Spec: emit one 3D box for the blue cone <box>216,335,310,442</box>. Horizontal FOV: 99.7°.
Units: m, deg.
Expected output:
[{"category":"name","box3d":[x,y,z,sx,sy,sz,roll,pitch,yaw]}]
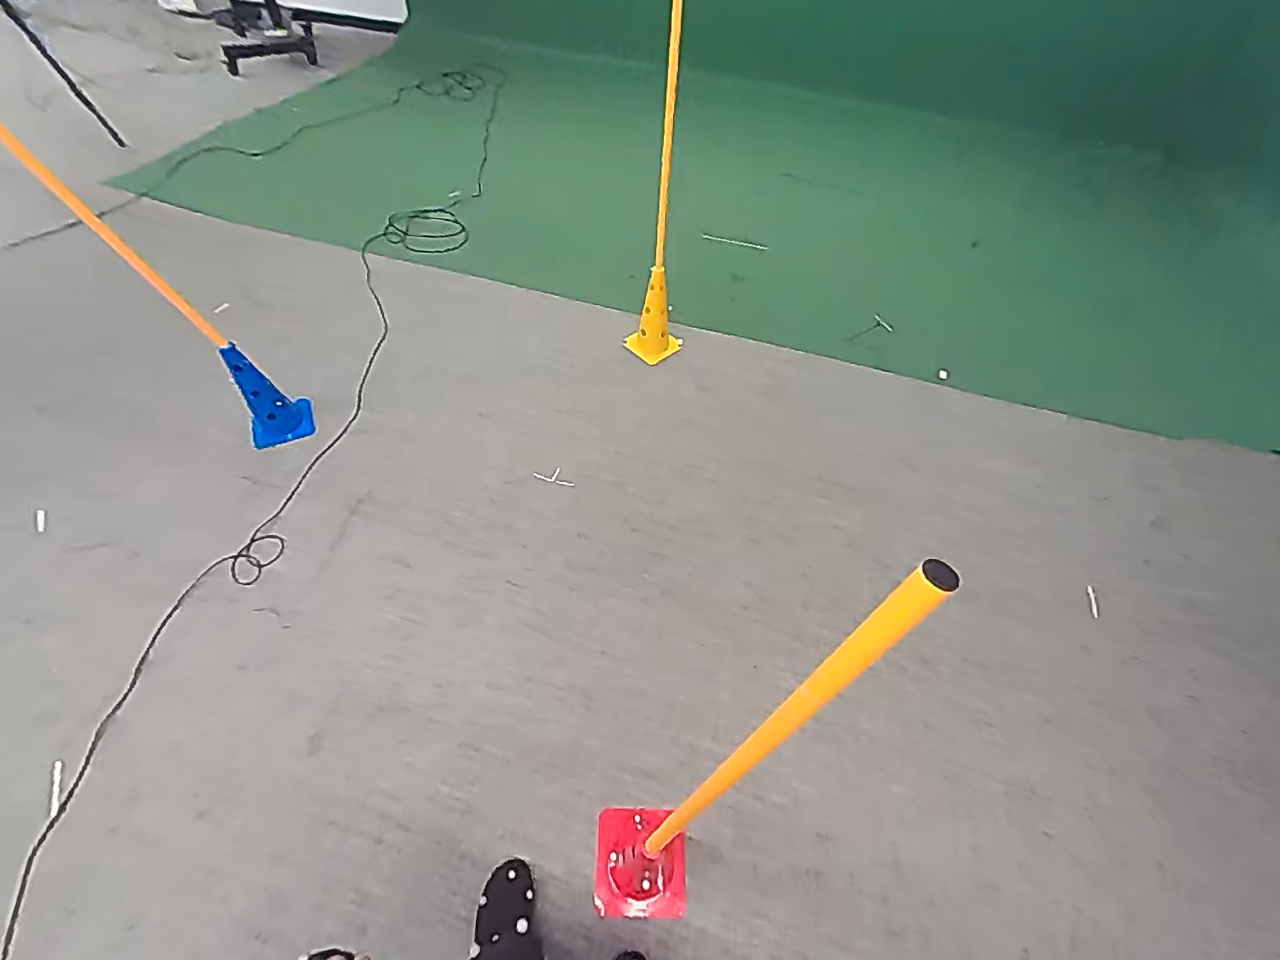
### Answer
[{"category":"blue cone","box3d":[-1.278,-0.316,1.795,0.193,0.380,0.192,-22,58,-17]}]
